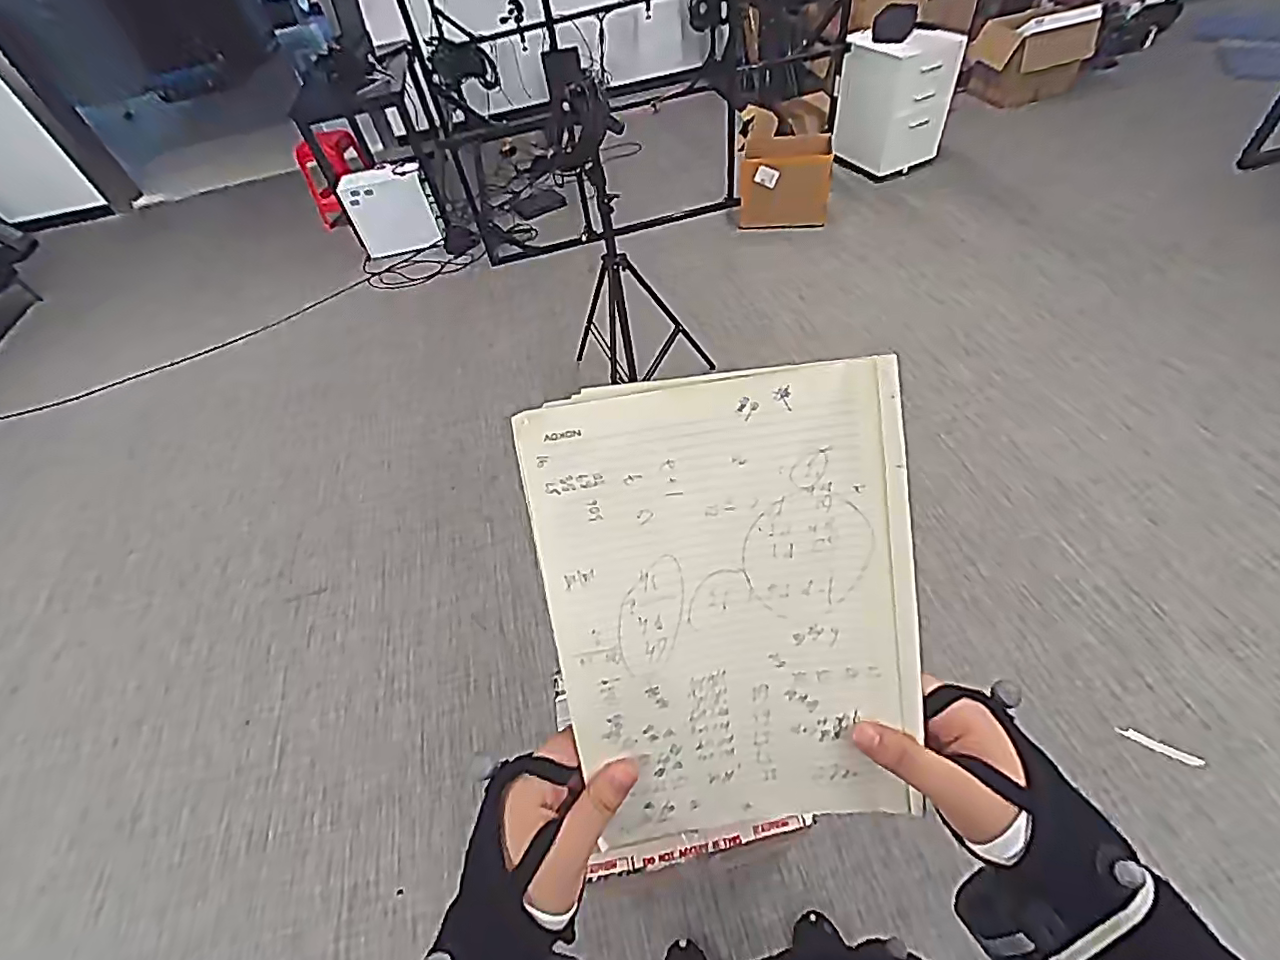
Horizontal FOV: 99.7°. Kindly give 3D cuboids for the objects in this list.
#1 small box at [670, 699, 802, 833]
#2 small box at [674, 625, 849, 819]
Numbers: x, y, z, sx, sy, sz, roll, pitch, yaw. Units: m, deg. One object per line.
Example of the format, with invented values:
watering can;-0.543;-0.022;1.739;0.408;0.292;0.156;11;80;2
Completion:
small box;0.153;0.423;0.839;0.179;0.176;0.168;-16;51;-6
small box;0.143;0.320;0.710;0.168;0.176;0.179;-13;52;-4
